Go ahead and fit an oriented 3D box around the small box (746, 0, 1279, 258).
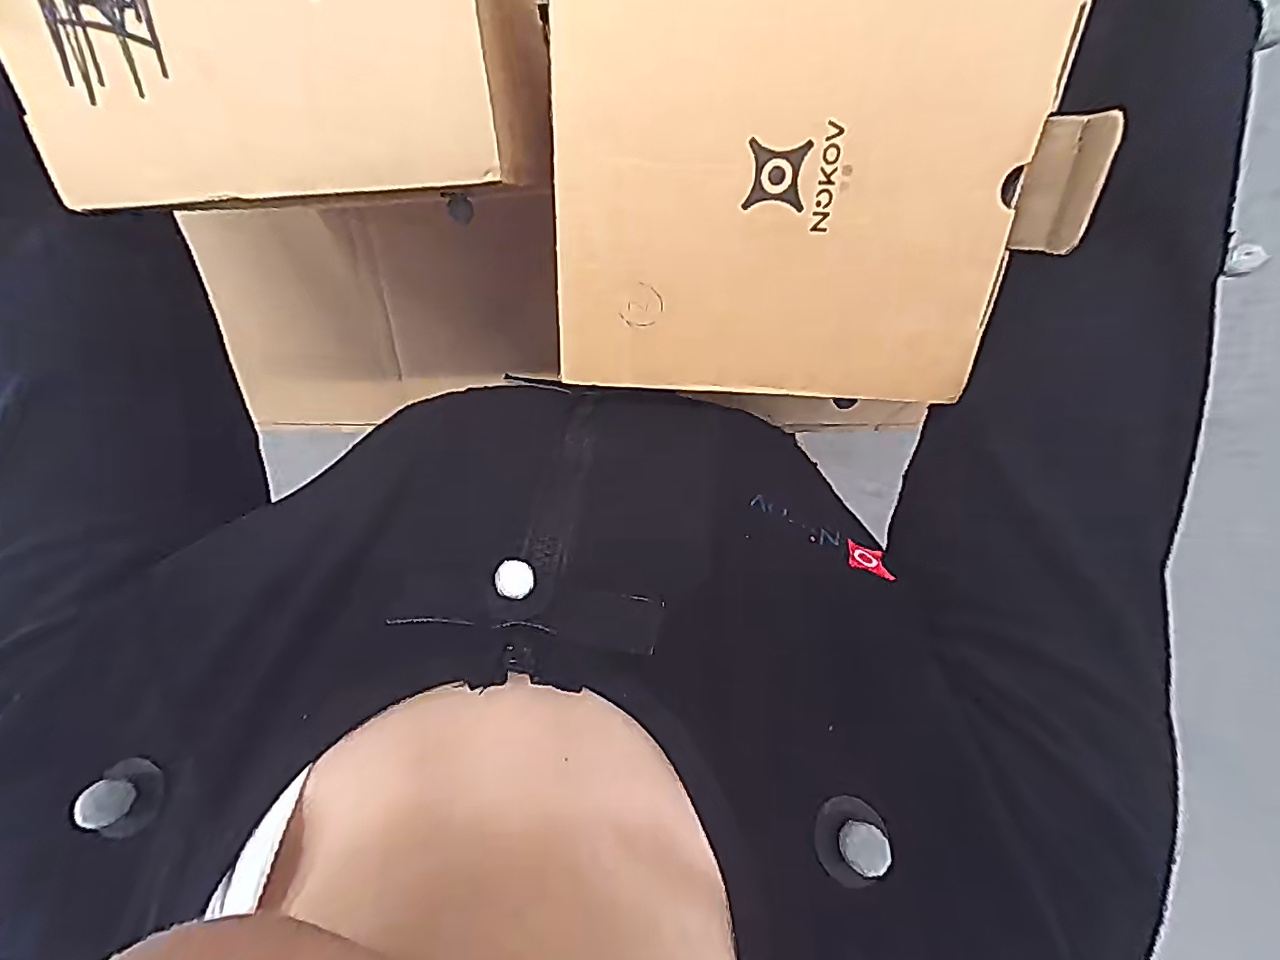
[{"bbox_3d":[0.157,-0.208,0.218,0.179,0.176,0.168,15,124,-5],"label":"small box"}]
